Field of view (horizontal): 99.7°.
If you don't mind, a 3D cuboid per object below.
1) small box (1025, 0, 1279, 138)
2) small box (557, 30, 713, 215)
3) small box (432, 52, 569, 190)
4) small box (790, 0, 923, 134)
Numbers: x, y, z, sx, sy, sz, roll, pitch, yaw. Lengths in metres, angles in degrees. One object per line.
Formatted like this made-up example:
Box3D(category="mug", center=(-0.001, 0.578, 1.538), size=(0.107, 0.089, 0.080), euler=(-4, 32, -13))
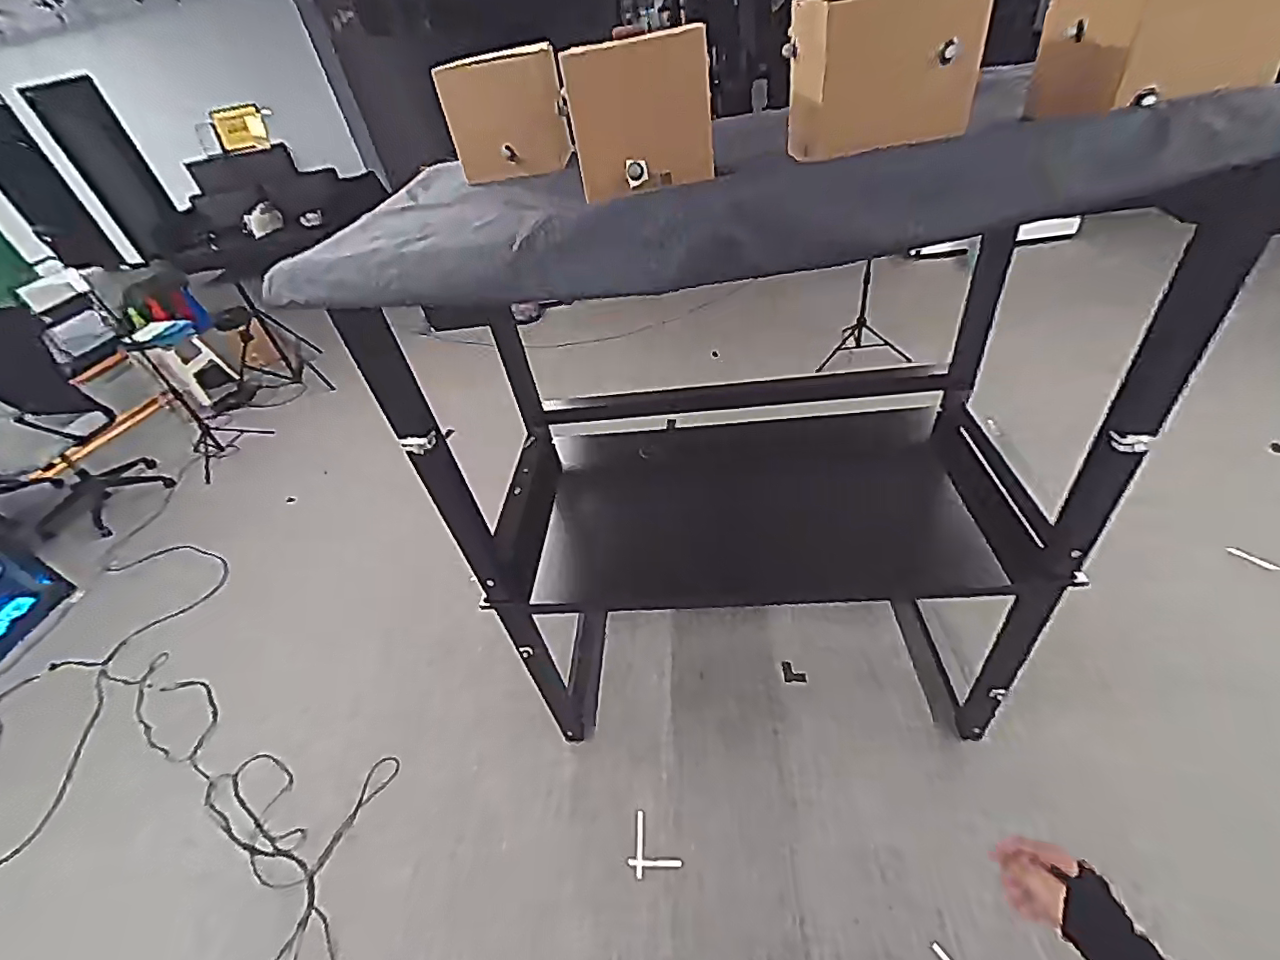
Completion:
Box3D(category="small box", center=(0.589, -0.507, 0.618), size=(0.168, 0.176, 0.179), euler=(-7, 39, 6))
Box3D(category="small box", center=(0.000, -0.460, 0.702), size=(0.168, 0.176, 0.179), euler=(-8, 39, 5))
Box3D(category="small box", center=(-0.230, -0.629, 0.950), size=(0.179, 0.176, 0.168), euler=(-5, 41, 6))
Box3D(category="small box", center=(0.342, -0.682, 0.882), size=(0.168, 0.176, 0.179), euler=(-5, 41, 7))
